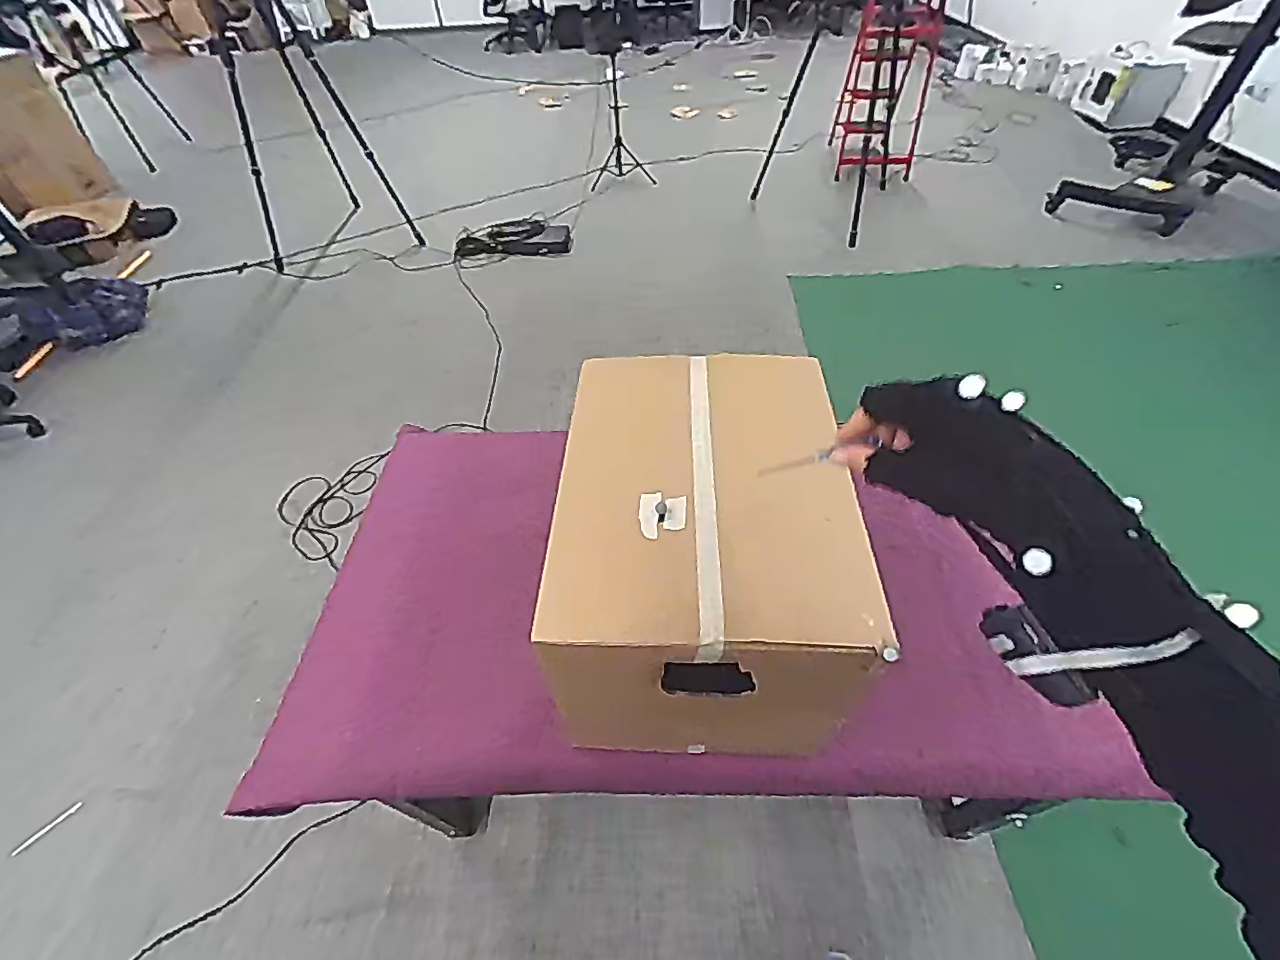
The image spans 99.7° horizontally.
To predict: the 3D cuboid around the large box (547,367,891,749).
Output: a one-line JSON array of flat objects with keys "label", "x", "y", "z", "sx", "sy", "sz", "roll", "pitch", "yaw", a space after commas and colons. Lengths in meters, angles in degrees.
[{"label": "large box", "x": 0.077, "y": 0.097, "z": 0.717, "sx": 0.320, "sy": 0.320, "sz": 0.408, "roll": 0, "pitch": 49, "yaw": 4}]
